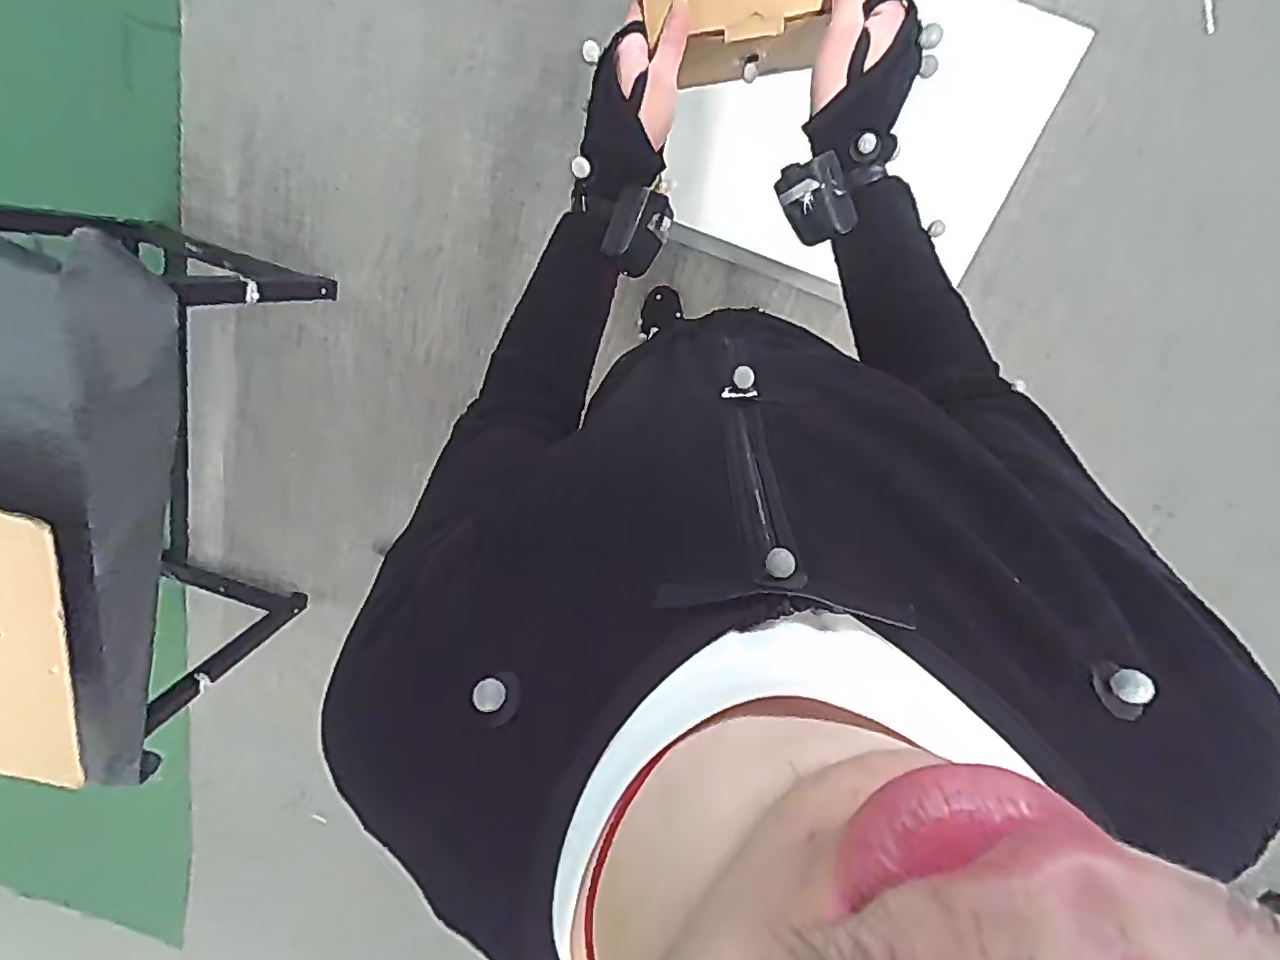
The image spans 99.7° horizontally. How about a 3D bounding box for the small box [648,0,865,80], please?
[{"bbox_3d":[0.092,-0.458,0.446,0.168,0.176,0.179,-4,114,12],"label":"small box"}]
